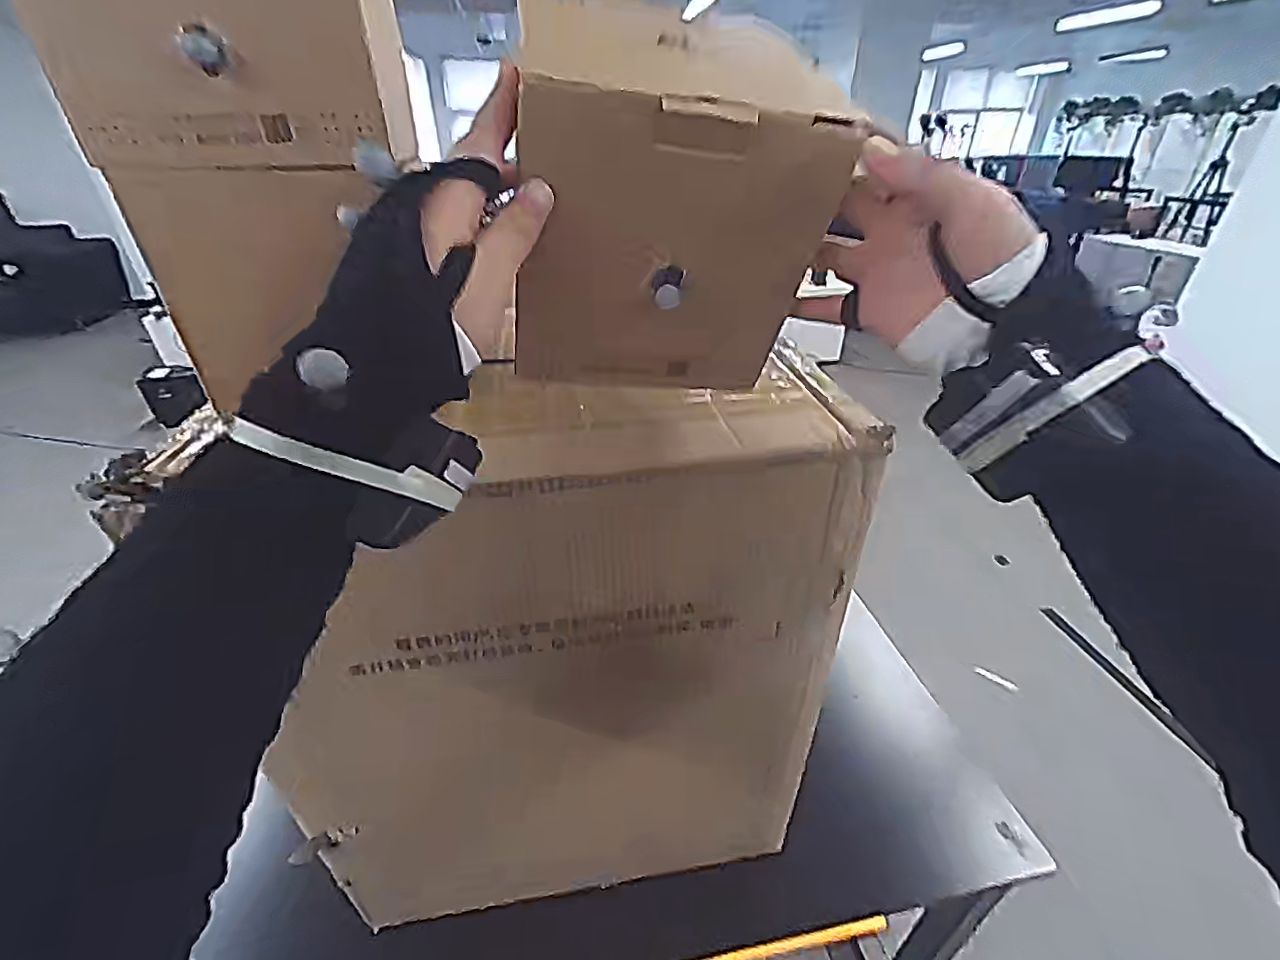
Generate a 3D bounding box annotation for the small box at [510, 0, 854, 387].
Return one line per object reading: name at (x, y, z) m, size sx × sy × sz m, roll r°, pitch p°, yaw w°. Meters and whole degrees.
small box at (0.000, -0.177, 0.355) m, size 0.168 × 0.176 × 0.179 m, roll -1°, pitch 50°, yaw -14°

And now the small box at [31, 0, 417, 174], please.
small box at (-0.253, -0.300, 0.349) m, size 0.168 × 0.176 × 0.179 m, roll -7°, pitch 34°, yaw -11°

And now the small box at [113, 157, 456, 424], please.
small box at (-0.251, -0.162, 0.441) m, size 0.168 × 0.176 × 0.179 m, roll -9°, pitch 35°, yaw -13°
